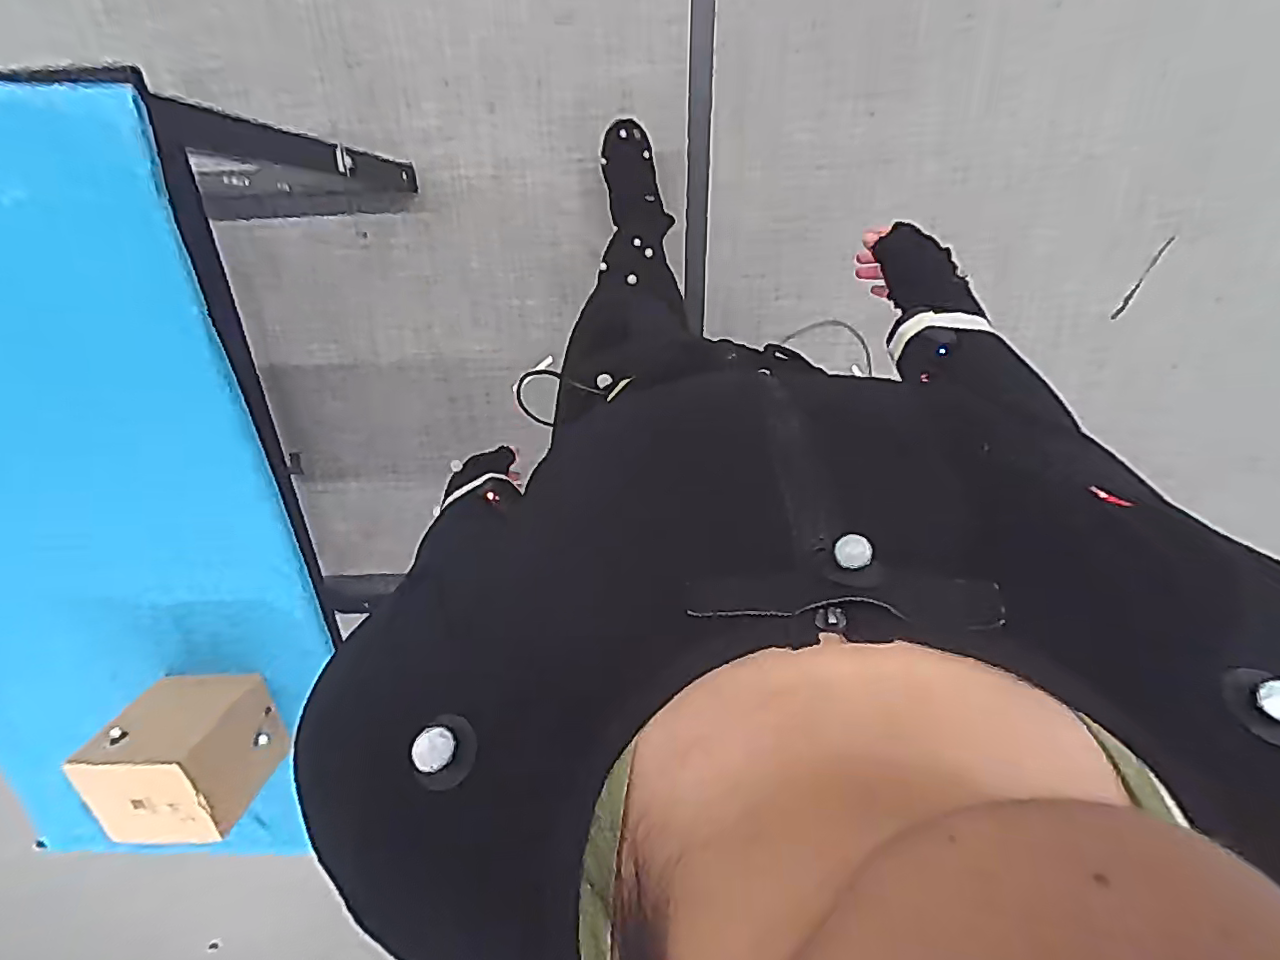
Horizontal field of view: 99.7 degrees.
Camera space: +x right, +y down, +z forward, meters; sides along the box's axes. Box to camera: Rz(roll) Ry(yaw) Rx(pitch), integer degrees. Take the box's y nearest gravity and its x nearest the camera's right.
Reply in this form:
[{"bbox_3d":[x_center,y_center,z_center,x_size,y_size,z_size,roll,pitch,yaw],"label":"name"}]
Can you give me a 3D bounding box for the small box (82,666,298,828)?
[{"bbox_3d":[-0.692,0.414,0.857,0.179,0.176,0.168,0,115,0],"label":"small box"}]
